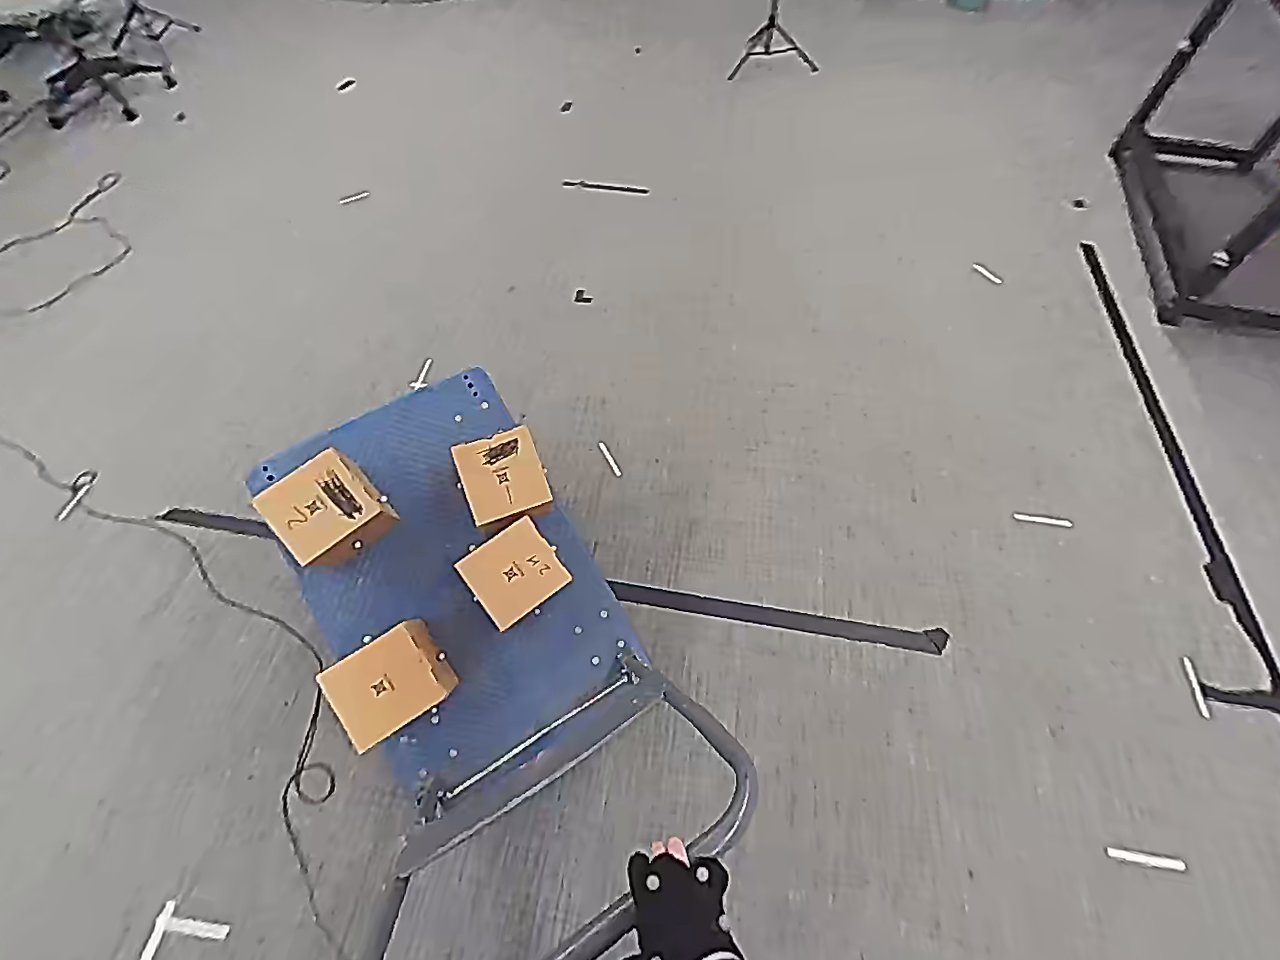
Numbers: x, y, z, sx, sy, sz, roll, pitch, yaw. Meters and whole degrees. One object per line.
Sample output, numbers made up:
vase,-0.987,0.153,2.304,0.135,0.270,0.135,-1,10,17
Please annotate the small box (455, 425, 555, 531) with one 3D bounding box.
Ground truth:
small box,-0.296,0.001,1.202,0.168,0.176,0.179,-19,83,-13

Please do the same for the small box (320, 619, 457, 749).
small box,-0.490,0.397,1.084,0.179,0.176,0.168,-32,86,-16

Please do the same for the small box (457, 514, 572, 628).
small box,-0.264,0.198,1.166,0.179,0.176,0.168,-35,87,-15
